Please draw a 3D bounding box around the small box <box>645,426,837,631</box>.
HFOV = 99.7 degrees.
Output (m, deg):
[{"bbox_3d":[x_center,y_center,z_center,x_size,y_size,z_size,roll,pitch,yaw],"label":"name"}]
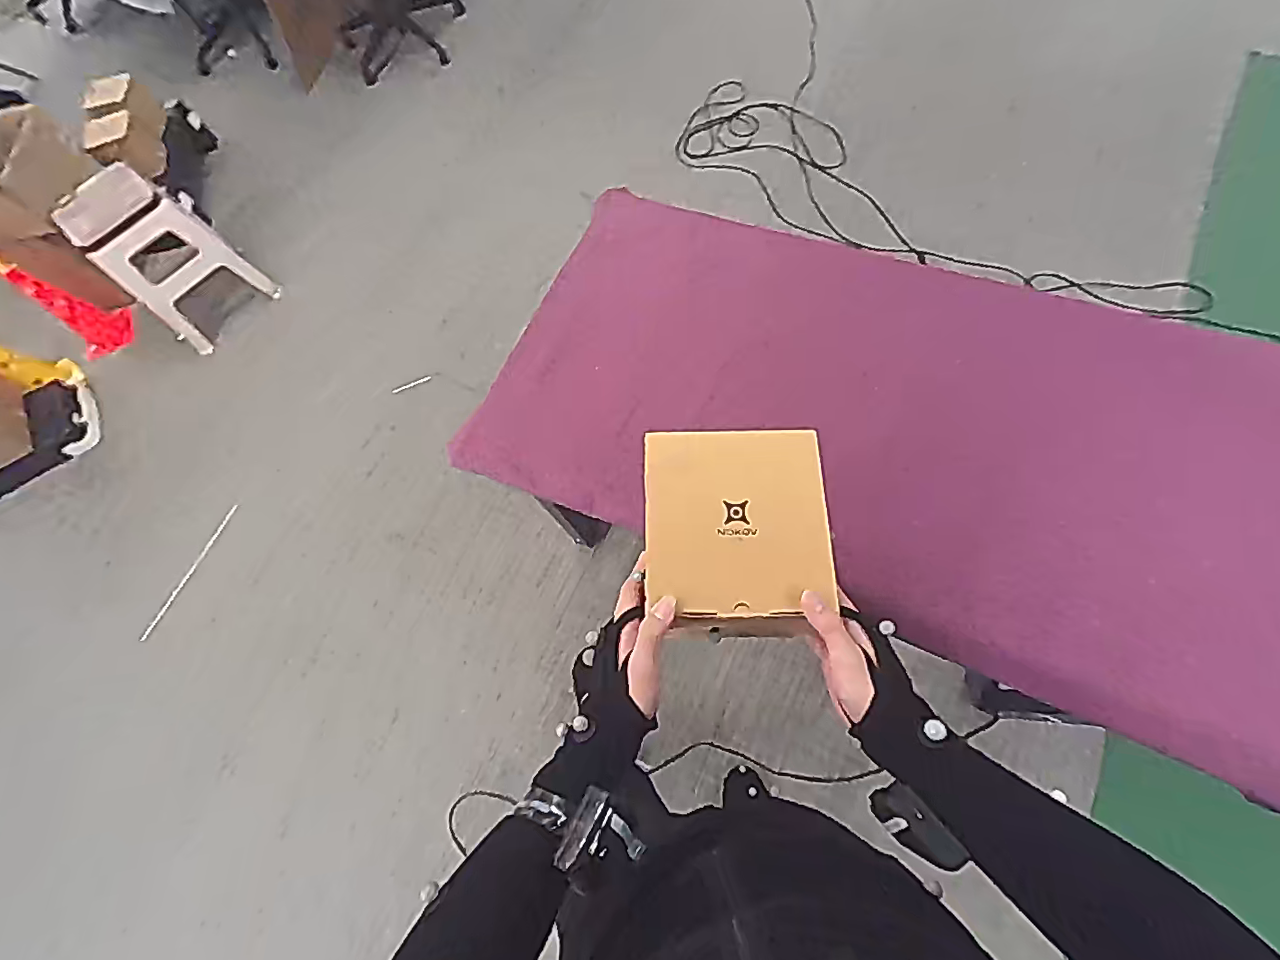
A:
[{"bbox_3d":[0.089,0.058,0.565,0.168,0.176,0.179,0,70,1],"label":"small box"}]
